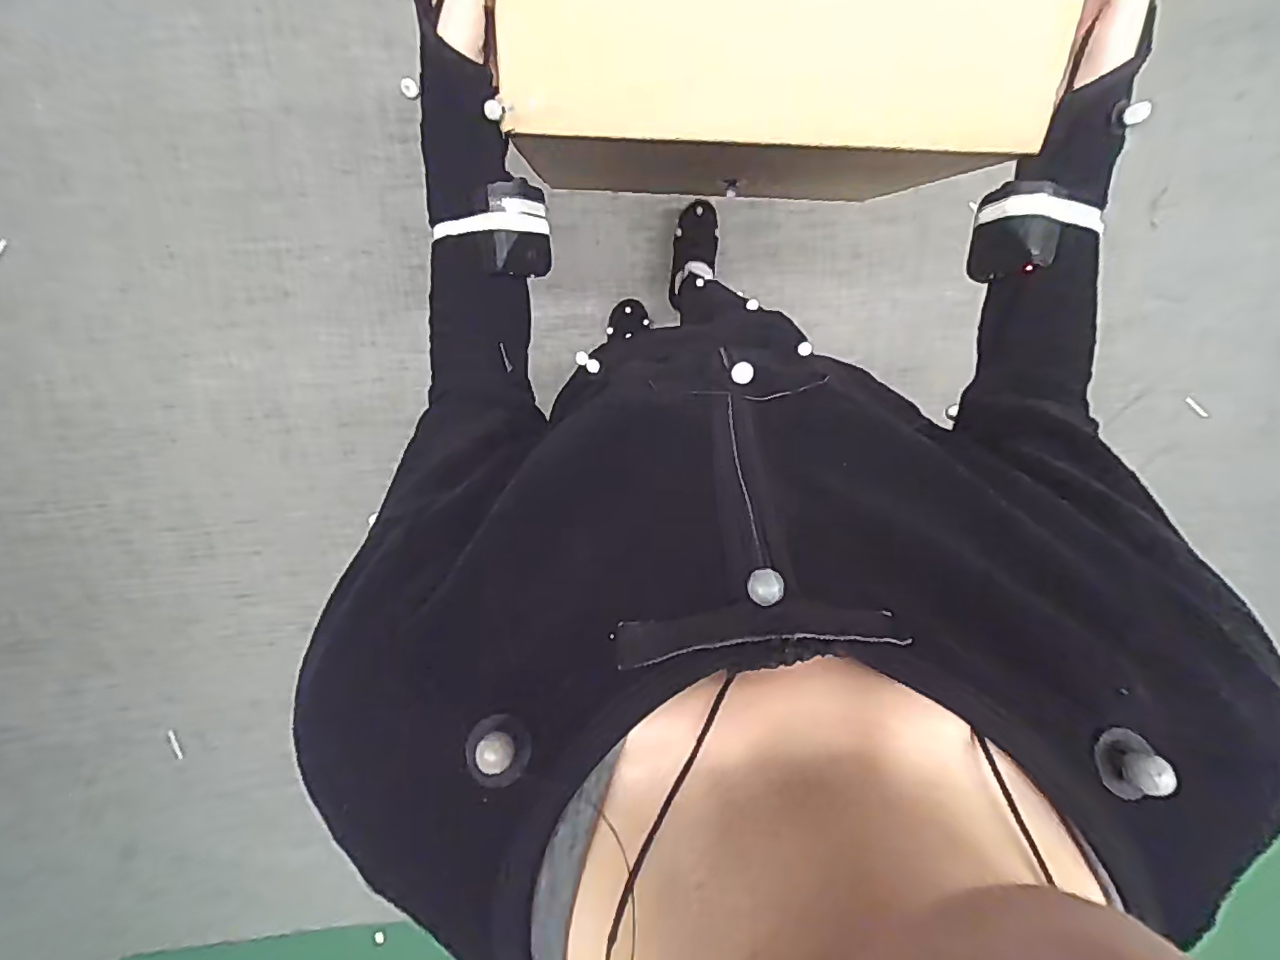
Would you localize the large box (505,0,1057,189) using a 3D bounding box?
[{"bbox_3d":[0.101,-0.458,0.498,0.408,0.320,0.320,0,111,-2],"label":"large box"}]
